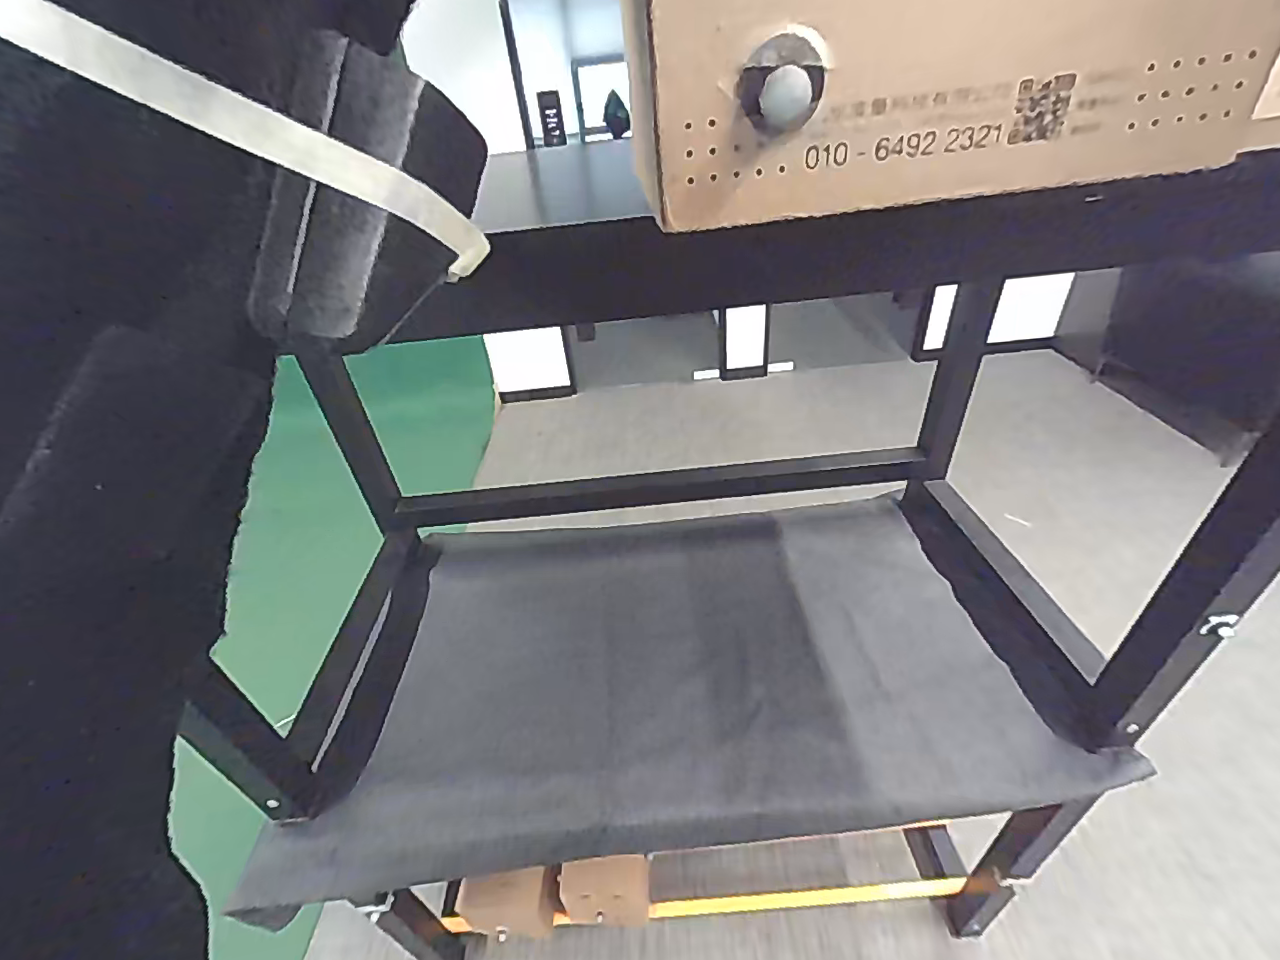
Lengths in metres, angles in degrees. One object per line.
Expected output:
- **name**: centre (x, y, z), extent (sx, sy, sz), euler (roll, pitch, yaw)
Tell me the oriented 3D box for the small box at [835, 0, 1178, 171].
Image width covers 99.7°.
- **small box**: centre (0.265, -0.347, 0.419), extent (0.168, 0.176, 0.179), euler (-6, 35, 1)
